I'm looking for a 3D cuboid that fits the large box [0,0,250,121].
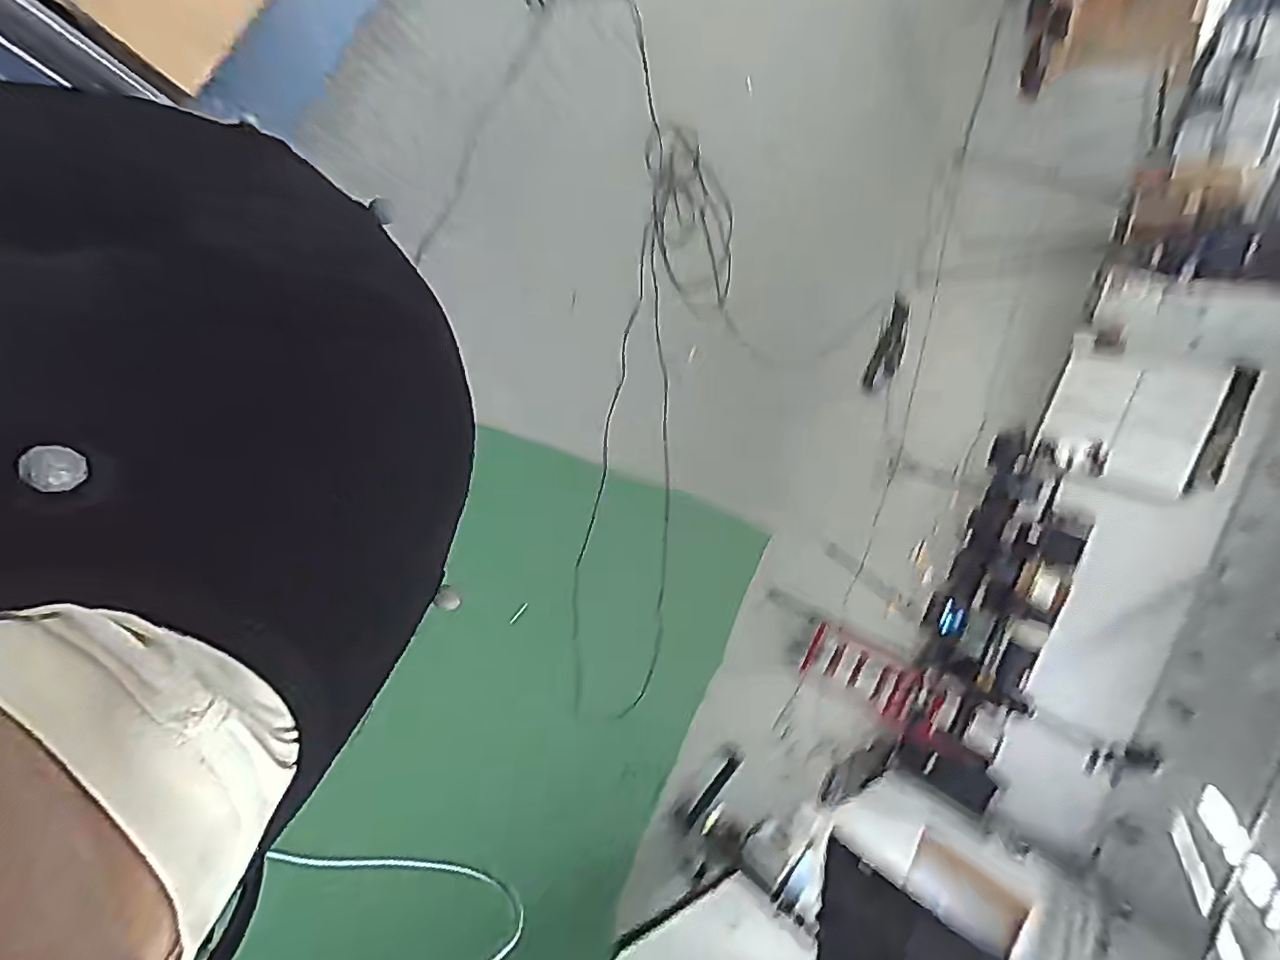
[{"bbox_3d":[-0.780,-0.850,0.813,0.320,0.320,0.408,34,81,-48],"label":"large box"}]
